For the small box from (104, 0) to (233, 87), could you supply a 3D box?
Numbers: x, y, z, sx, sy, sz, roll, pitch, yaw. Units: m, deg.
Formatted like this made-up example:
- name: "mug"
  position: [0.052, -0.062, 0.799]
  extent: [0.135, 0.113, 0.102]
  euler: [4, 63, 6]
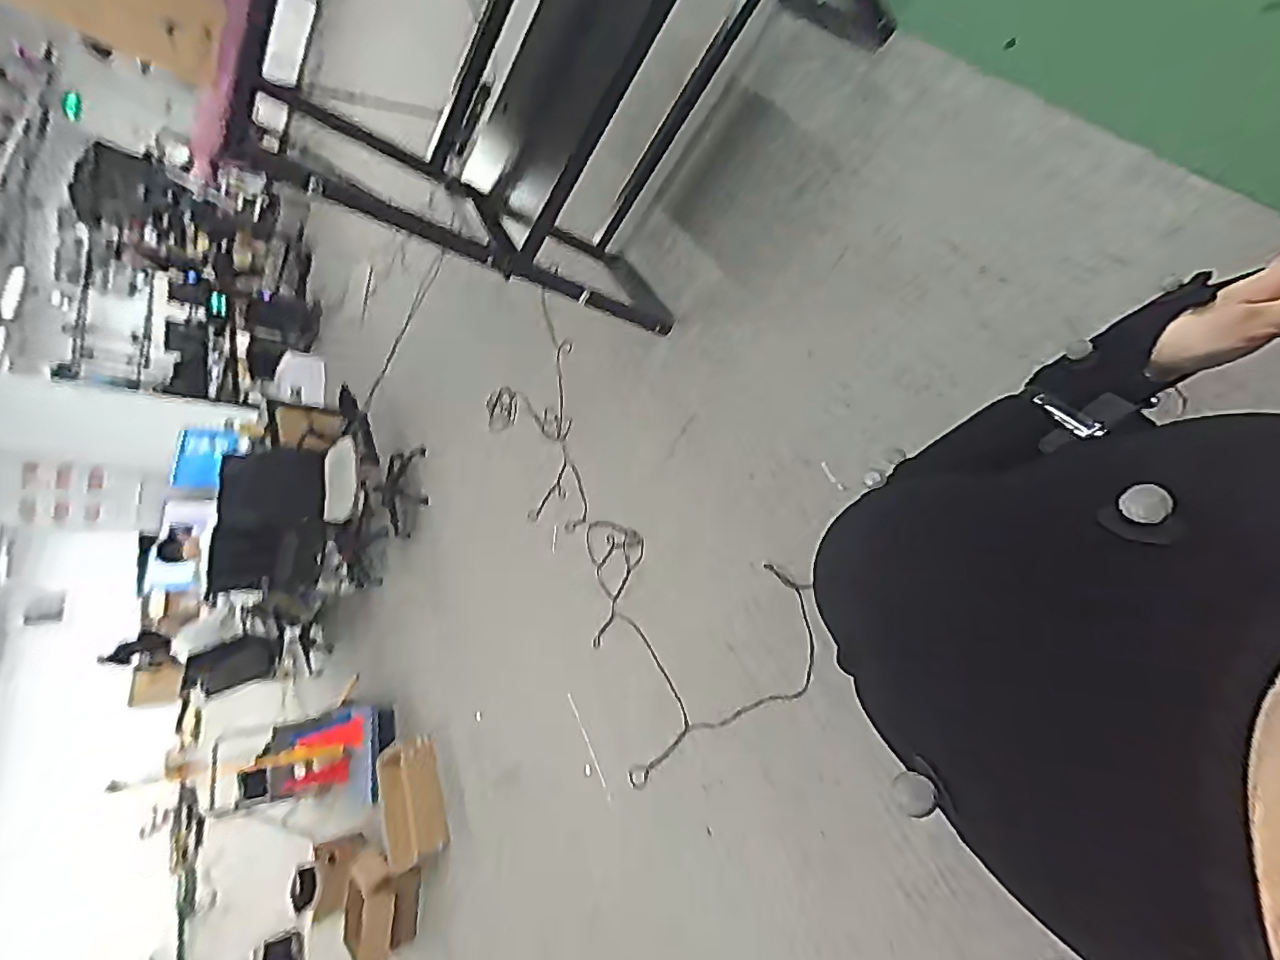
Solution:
- name: "small box"
  position: [-0.902, -0.904, 1.038]
  extent: [0.168, 0.176, 0.179]
  euler: [-51, 53, 27]
